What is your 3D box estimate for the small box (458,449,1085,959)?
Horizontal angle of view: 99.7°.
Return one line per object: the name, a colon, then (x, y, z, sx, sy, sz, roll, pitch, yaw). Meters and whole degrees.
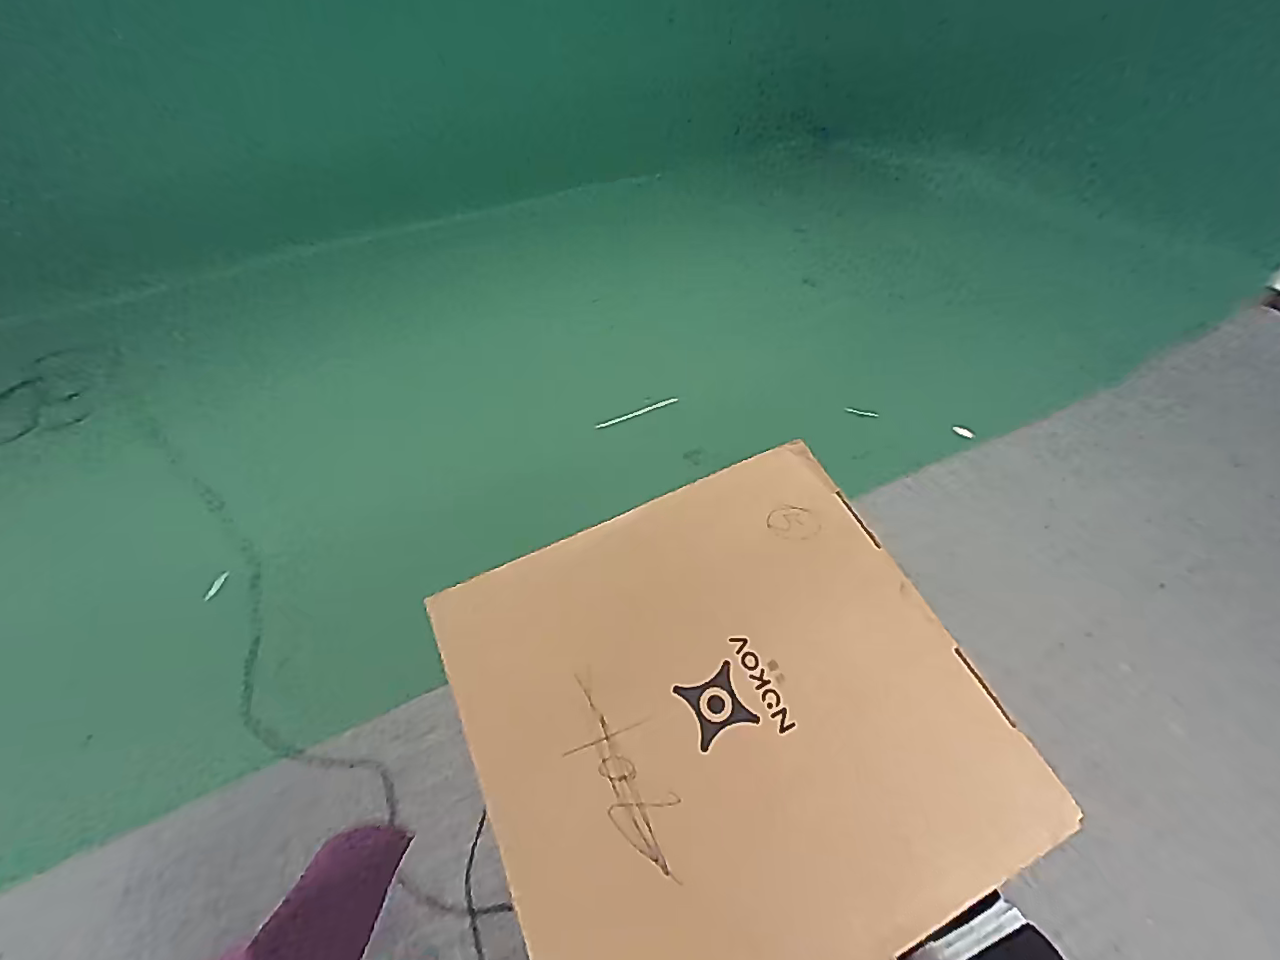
small box: (0.038, 0.119, 0.266, 0.179, 0.176, 0.168, -22, 62, -10)
